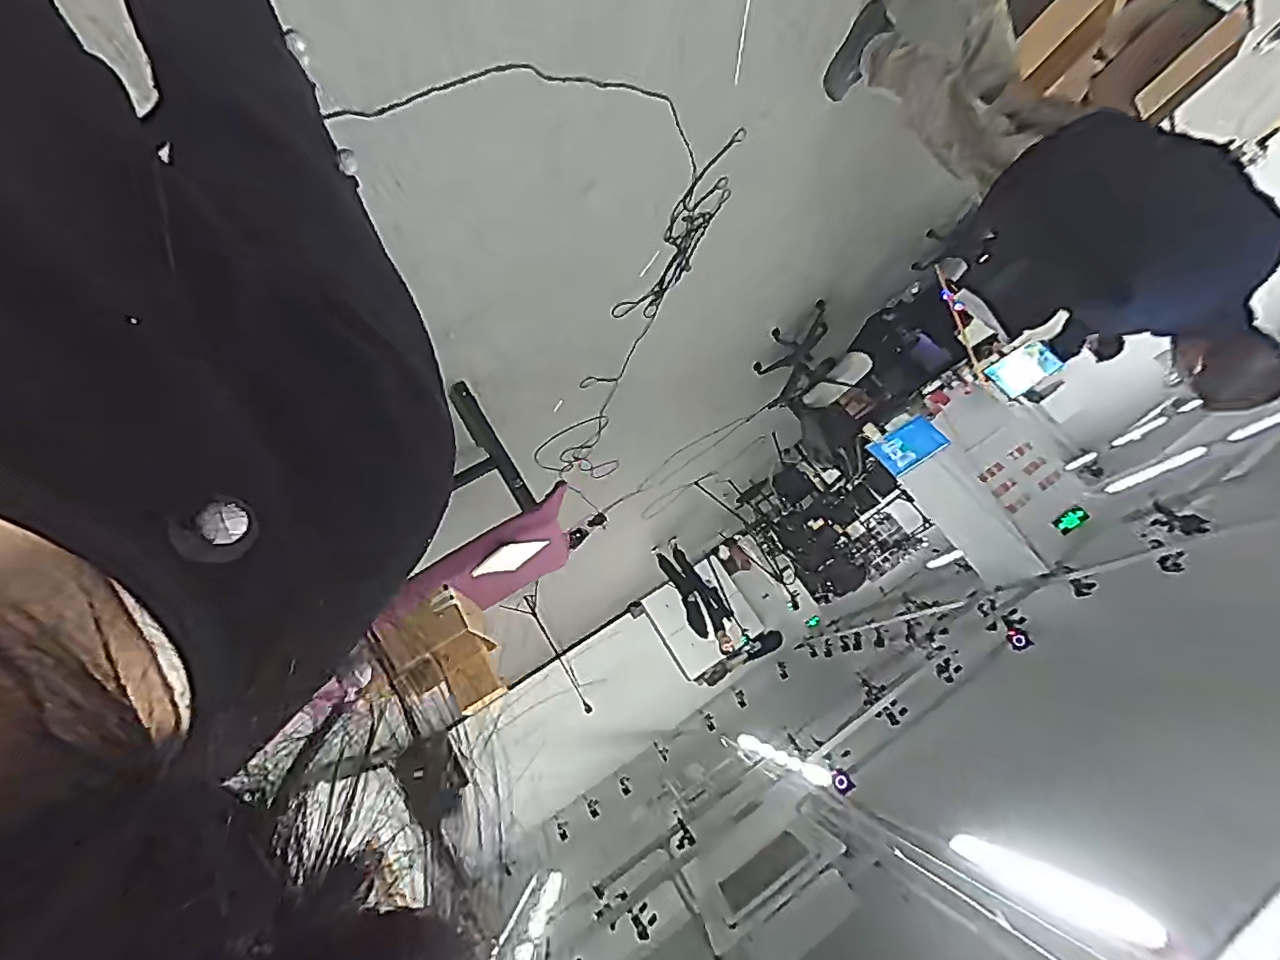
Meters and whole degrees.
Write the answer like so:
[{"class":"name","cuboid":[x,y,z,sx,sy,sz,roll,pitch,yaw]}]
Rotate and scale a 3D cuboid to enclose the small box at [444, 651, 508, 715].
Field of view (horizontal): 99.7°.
[{"class":"small box","cuboid":[-0.637,0.789,2.103,0.168,0.176,0.179,-30,161,-16]}]
